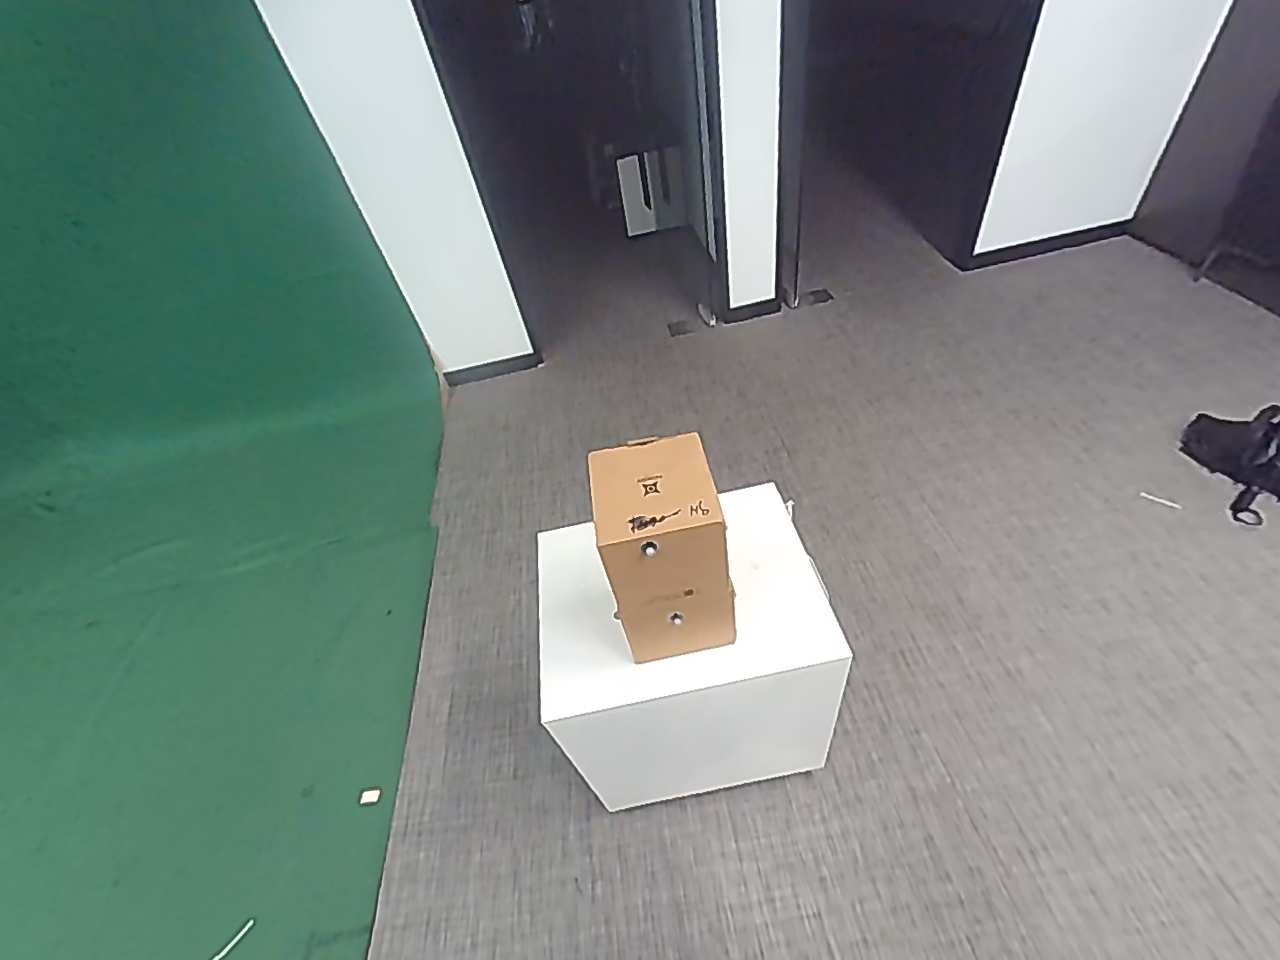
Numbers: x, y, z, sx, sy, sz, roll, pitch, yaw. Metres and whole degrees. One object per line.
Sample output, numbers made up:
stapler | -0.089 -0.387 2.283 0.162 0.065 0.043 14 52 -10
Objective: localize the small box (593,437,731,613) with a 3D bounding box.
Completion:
small box | 0.031 0.067 0.798 0.168 0.176 0.179 -13 46 -1

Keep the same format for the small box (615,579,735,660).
small box | 0.055 0.181 0.909 0.179 0.176 0.168 -12 45 0
